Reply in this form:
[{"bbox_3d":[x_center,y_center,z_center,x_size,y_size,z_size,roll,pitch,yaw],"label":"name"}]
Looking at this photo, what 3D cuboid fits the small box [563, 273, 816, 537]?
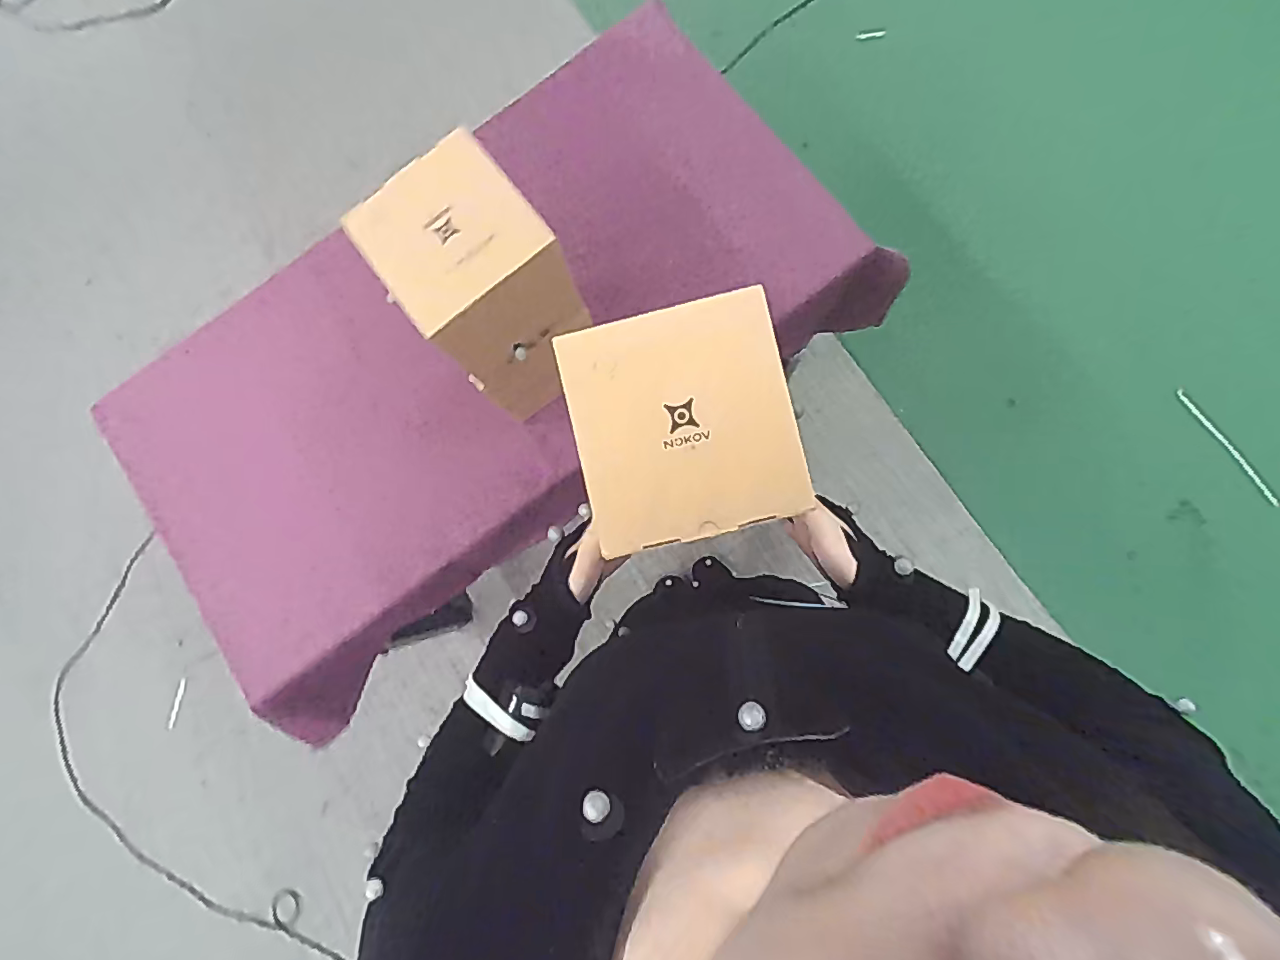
[{"bbox_3d":[0.039,-0.056,0.489,0.168,0.176,0.179,-13,90,3],"label":"small box"}]
